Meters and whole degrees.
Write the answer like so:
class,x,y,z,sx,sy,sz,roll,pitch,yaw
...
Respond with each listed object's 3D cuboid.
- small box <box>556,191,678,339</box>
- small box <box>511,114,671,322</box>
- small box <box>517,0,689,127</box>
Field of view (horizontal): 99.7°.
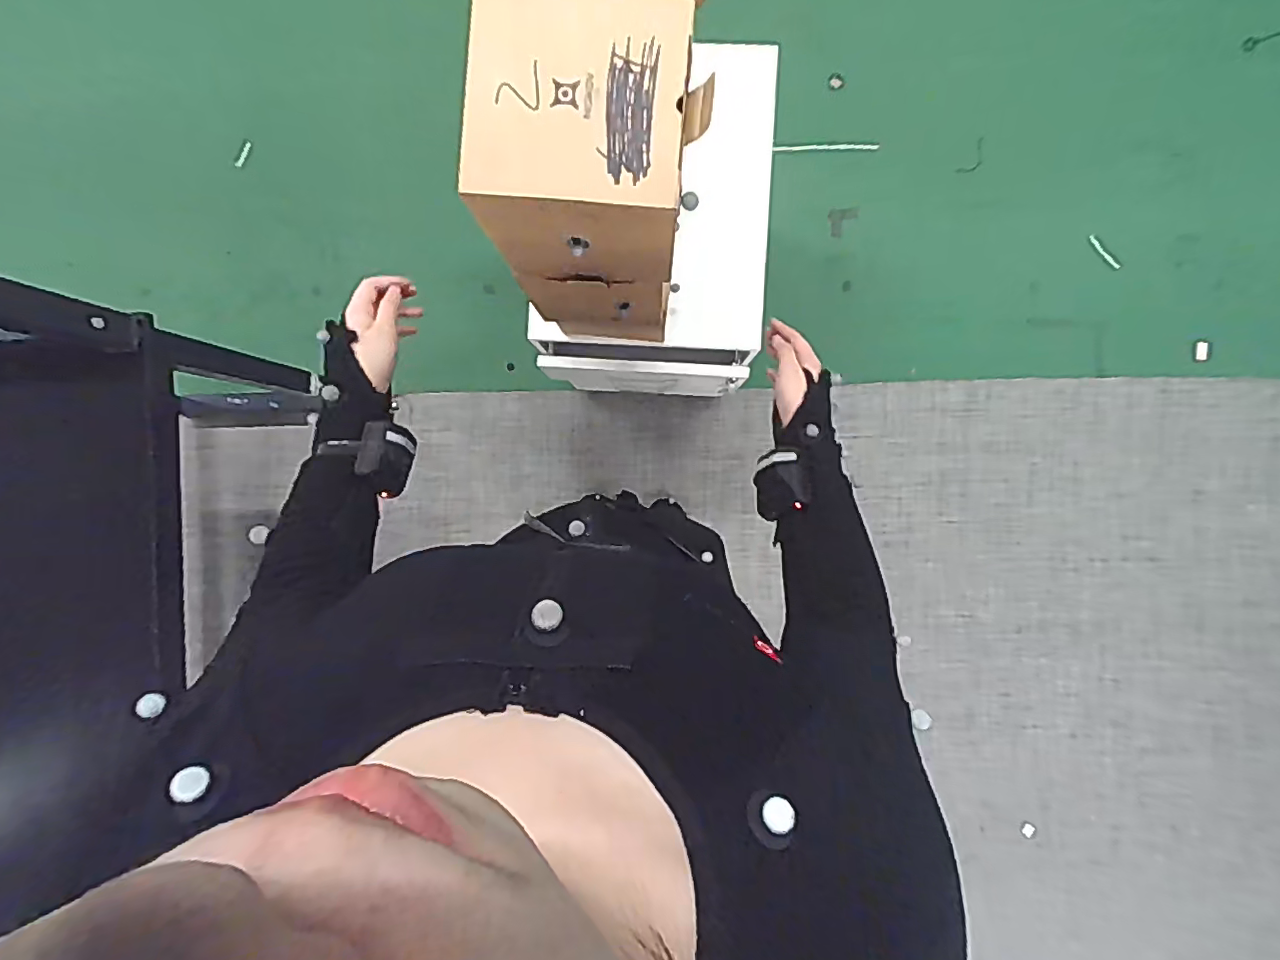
class,x,y,z,sx,sy,sz,roll,pitch,yaw
small box,-0.040,-0.320,0.816,0.179,0.176,0.168,6,91,1
small box,-0.051,-0.300,0.654,0.168,0.176,0.179,3,90,0
small box,-0.034,-0.550,0.650,0.179,0.176,0.168,6,91,0
